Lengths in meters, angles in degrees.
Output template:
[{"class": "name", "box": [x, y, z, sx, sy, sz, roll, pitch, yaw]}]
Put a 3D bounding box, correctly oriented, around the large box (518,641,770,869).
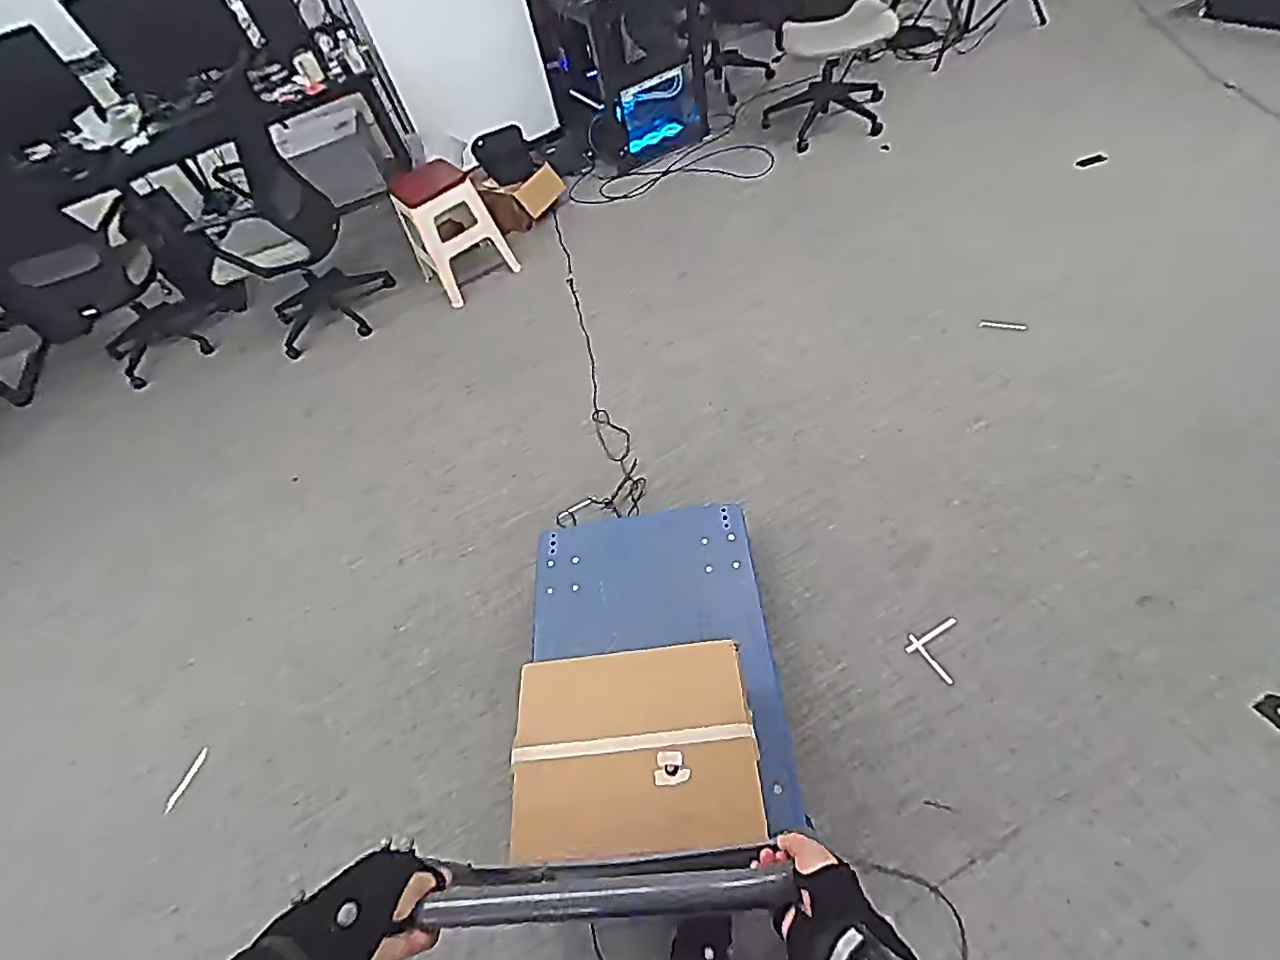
[{"class": "large box", "box": [0.014, 0.535, 1.033, 0.408, 0.320, 0.320, -9, 54, 5]}]
